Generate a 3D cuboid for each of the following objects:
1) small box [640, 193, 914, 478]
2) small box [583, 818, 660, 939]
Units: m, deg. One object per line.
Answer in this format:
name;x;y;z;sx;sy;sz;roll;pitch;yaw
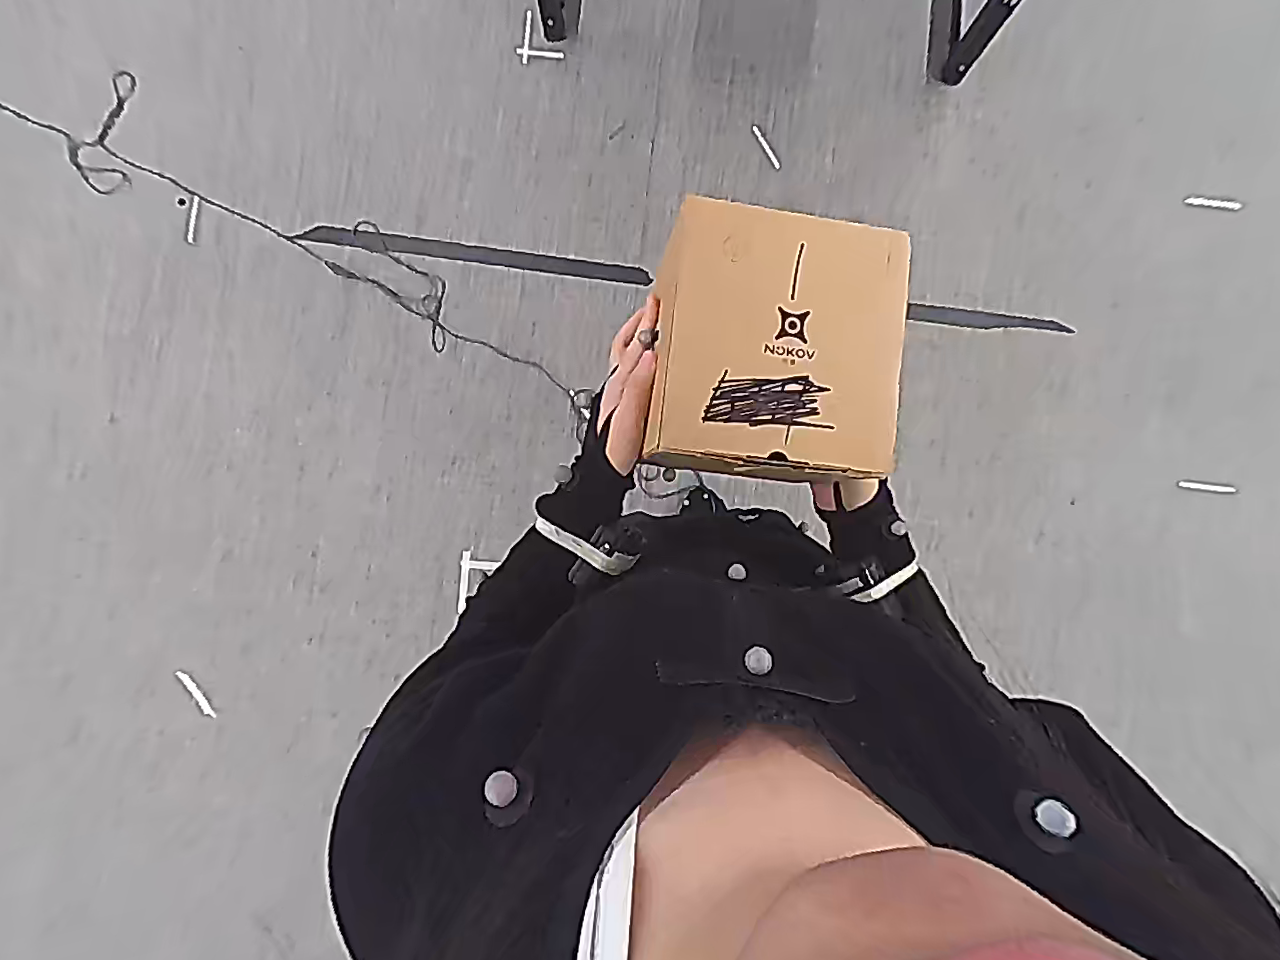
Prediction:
small box;0.094;-0.096;0.447;0.168;0.176;0.179;6;87;-6
small box;-0.045;1.013;1.385;0.168;0.176;0.179;9;88;-1
